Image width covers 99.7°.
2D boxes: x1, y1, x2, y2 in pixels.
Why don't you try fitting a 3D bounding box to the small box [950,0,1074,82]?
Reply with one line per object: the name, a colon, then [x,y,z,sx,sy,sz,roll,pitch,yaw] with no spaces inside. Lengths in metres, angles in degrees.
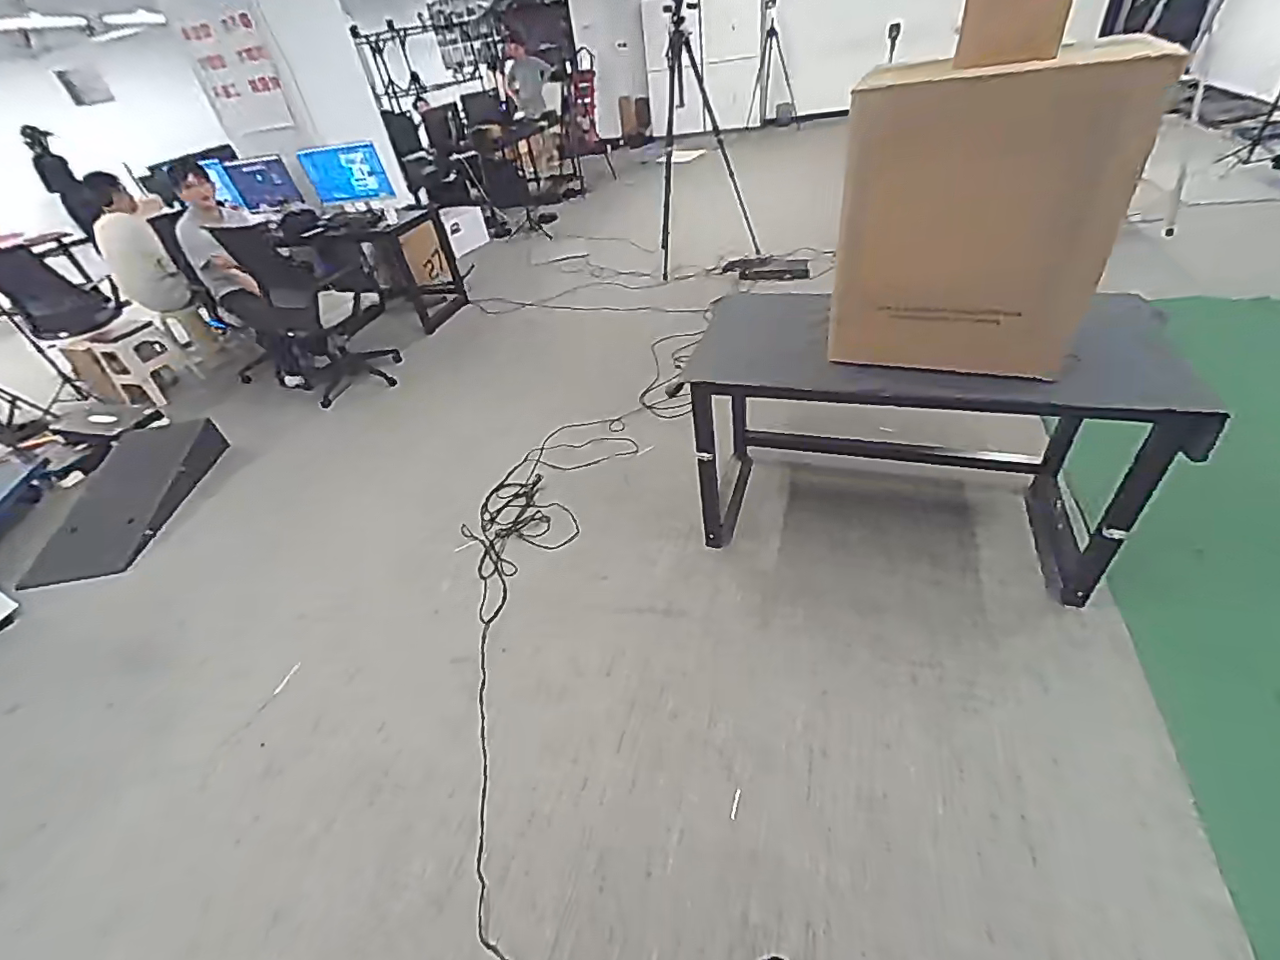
small box: [0.715,-0.887,1.033,0.179,0.176,0.168,12,46,25]
